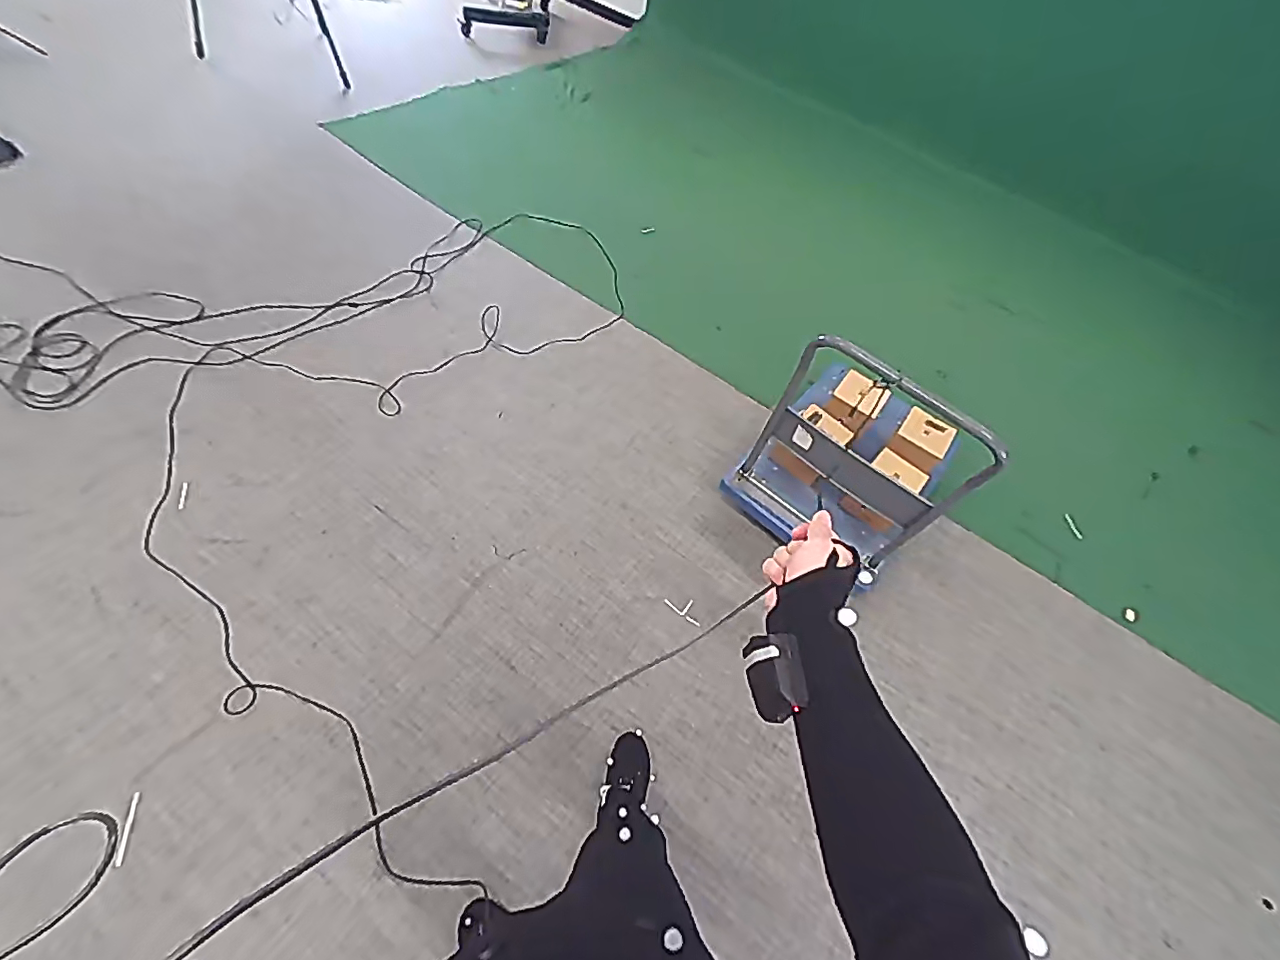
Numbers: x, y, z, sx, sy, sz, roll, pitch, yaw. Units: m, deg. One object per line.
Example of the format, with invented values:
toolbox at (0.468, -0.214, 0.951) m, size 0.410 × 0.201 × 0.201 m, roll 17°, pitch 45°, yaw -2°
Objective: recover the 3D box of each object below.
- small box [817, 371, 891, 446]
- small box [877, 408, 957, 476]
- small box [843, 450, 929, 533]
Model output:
small box at (0.773, -0.255, 1.971) m, size 0.168 × 0.176 × 0.179 m, roll 36°, pitch 57°, yaw 13°
small box at (0.974, -0.115, 1.912) m, size 0.168 × 0.176 × 0.179 m, roll 35°, pitch 58°, yaw 15°
small box at (0.800, 0.040, 1.774) m, size 0.168 × 0.176 × 0.179 m, roll 39°, pitch 59°, yaw 16°
